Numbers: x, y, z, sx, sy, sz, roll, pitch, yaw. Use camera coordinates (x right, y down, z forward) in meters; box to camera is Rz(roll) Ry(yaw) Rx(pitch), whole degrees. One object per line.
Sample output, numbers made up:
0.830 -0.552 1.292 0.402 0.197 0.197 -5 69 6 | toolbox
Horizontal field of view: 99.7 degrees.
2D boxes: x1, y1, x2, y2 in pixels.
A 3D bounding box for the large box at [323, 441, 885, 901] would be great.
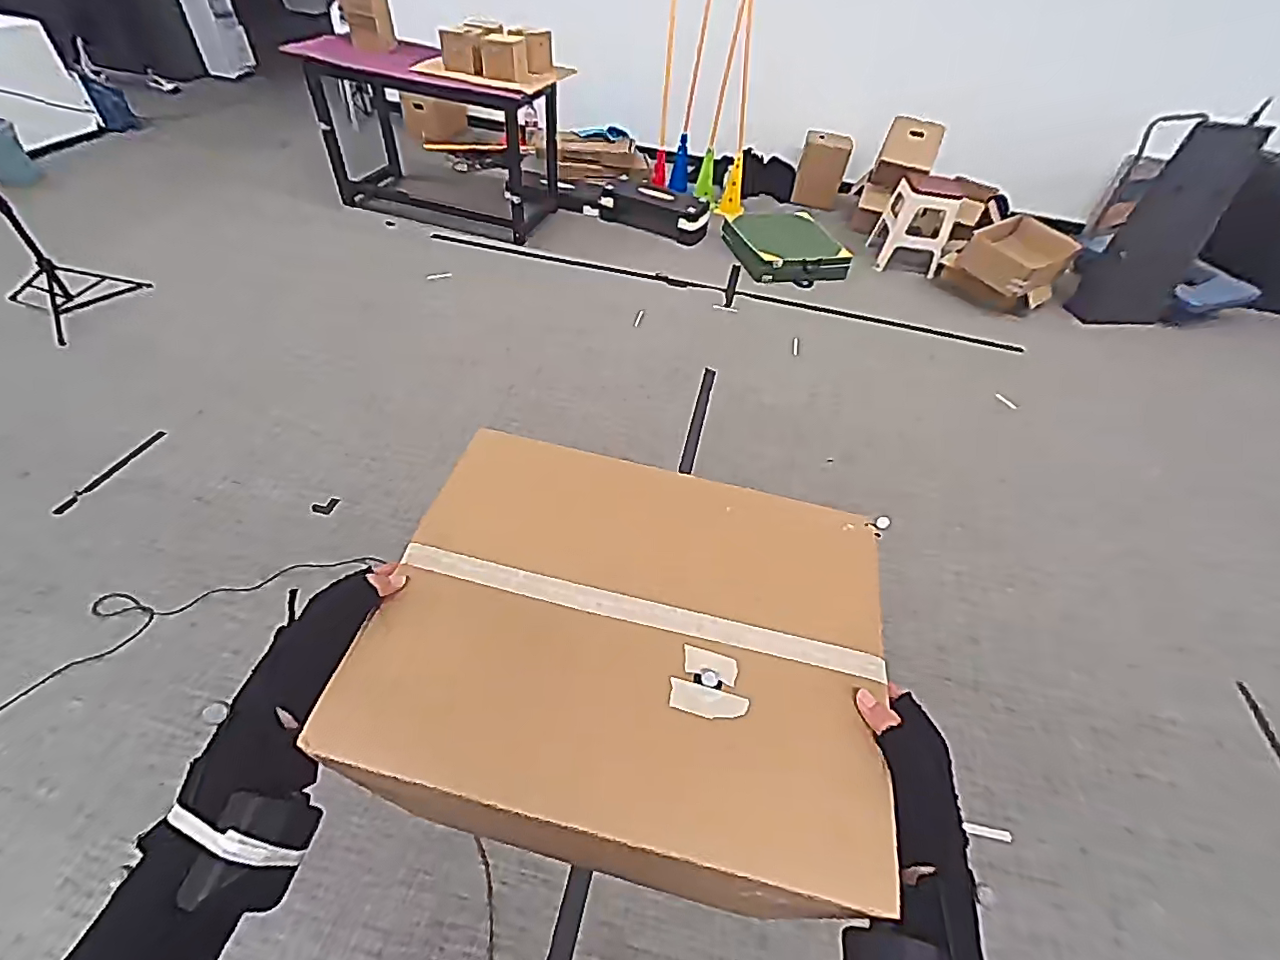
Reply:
-0.016 0.206 0.574 0.408 0.320 0.320 13 52 4 | large box
